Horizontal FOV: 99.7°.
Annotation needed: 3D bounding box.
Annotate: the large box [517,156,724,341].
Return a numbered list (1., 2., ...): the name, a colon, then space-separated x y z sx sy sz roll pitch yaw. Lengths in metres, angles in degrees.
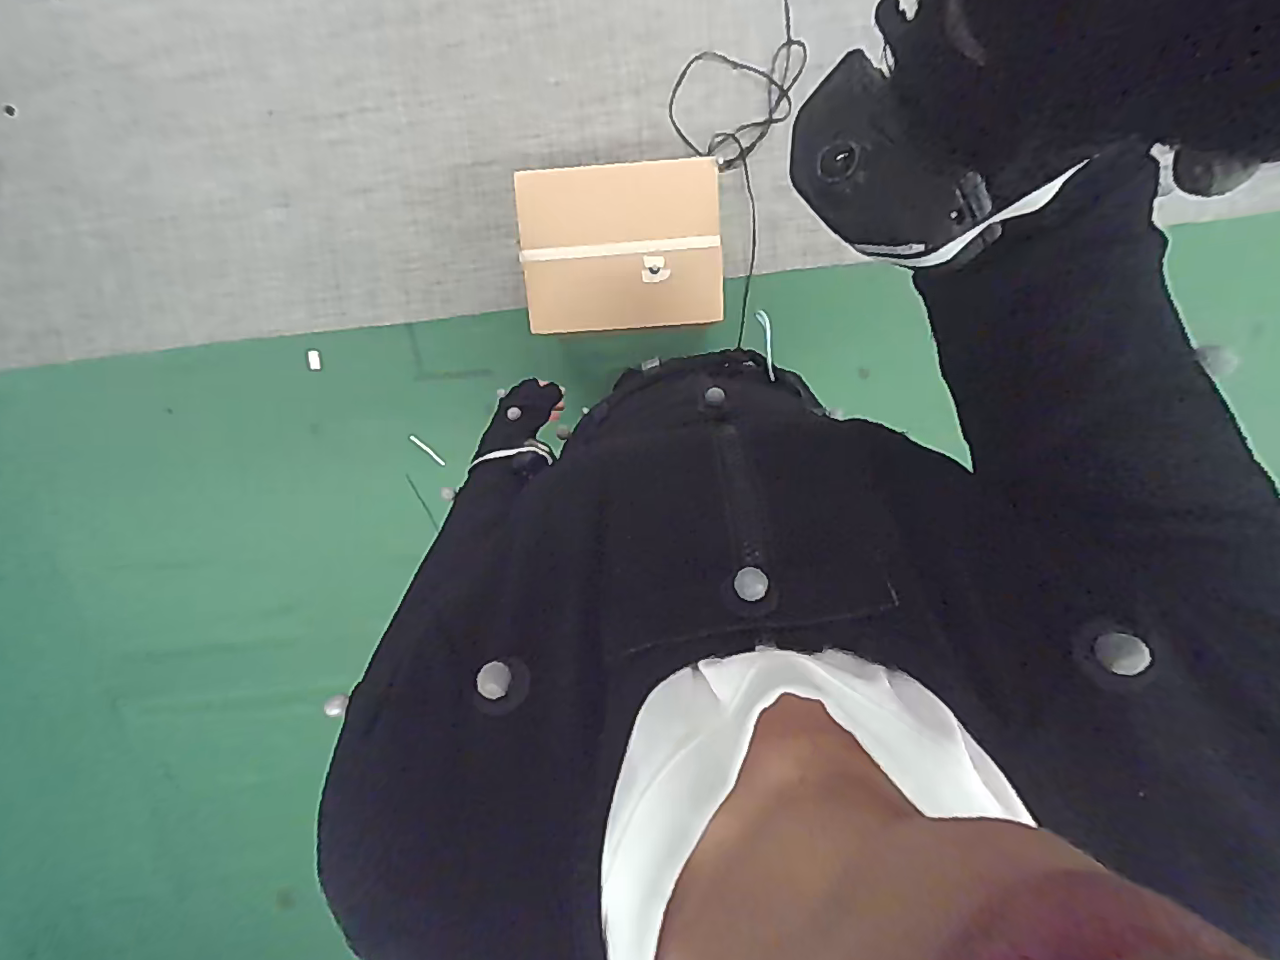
1. large box: -0.036 -0.501 1.240 0.408 0.320 0.320 -4 103 1
